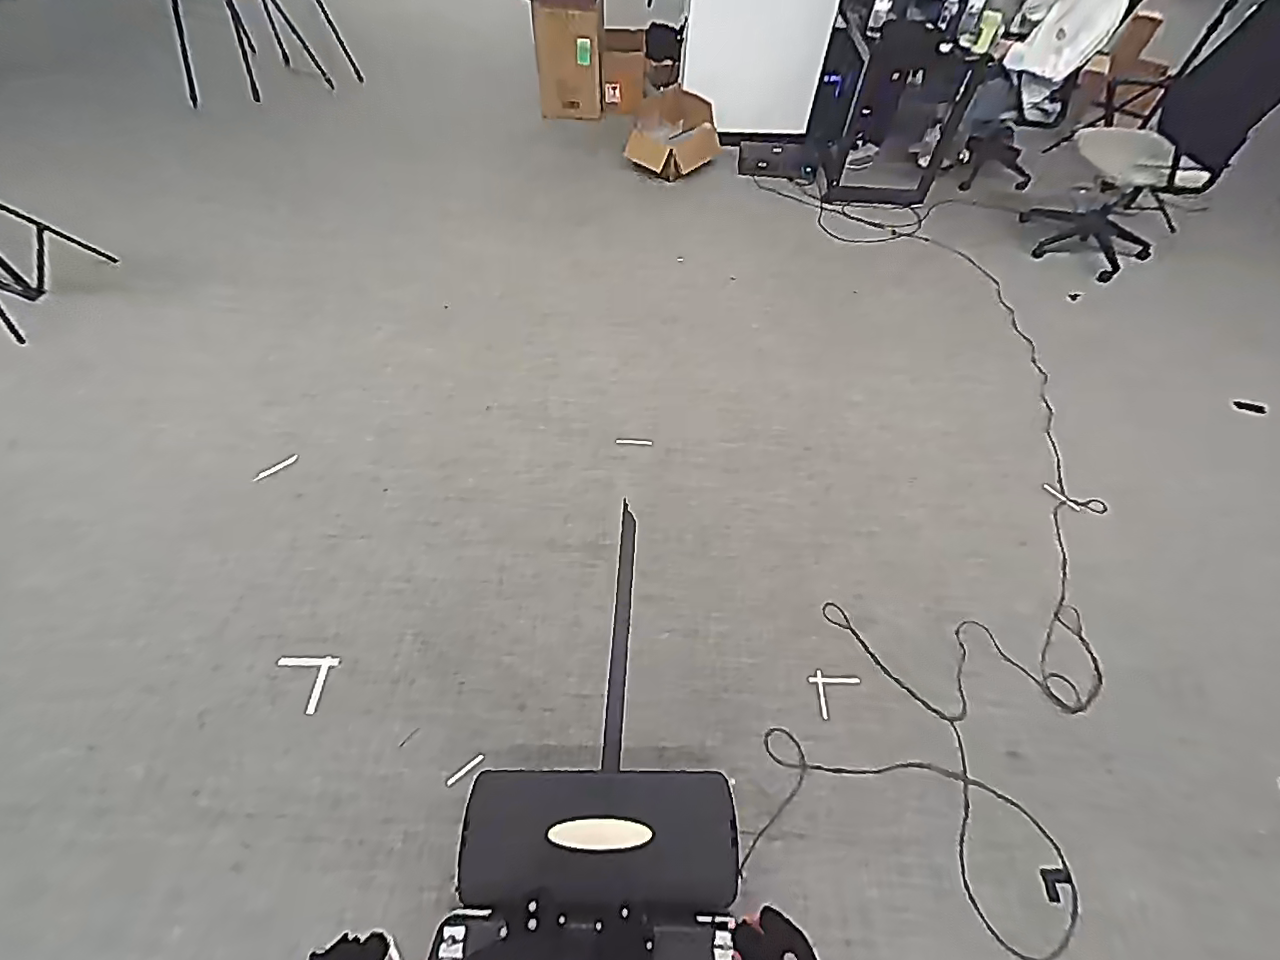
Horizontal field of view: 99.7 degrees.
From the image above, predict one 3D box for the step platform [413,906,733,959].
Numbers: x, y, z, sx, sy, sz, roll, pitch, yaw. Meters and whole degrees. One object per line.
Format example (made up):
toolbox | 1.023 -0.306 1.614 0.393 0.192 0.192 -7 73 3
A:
step platform | -0.138 1.085 1.130 0.684 0.204 0.286 1 55 0
